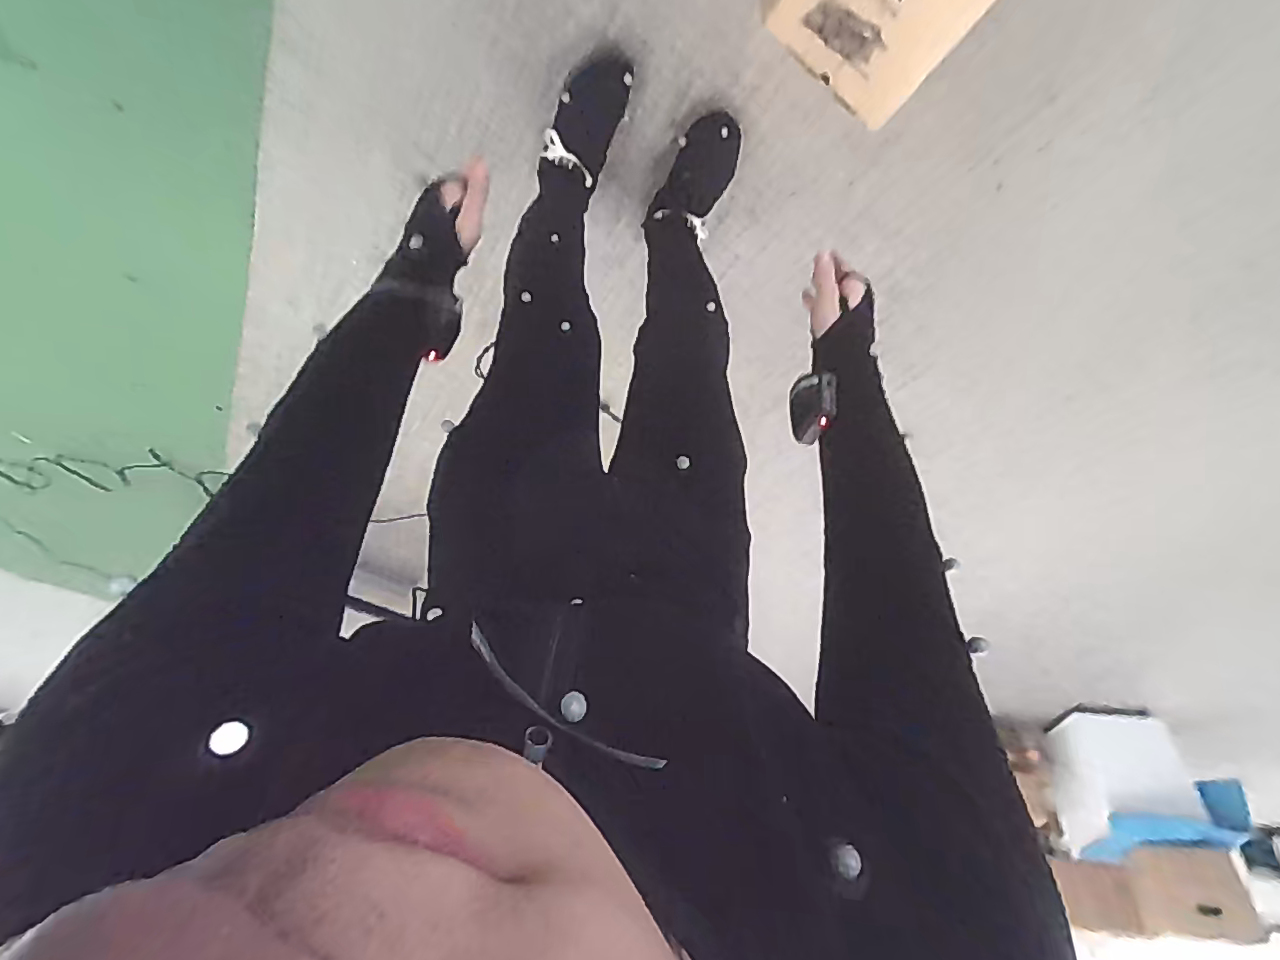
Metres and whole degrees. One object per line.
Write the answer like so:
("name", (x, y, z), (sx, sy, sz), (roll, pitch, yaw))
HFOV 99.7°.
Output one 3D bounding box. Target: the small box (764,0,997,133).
("small box", (0.249, -0.519, 0.565), (0.168, 0.176, 0.179), (28, 134, -20))
